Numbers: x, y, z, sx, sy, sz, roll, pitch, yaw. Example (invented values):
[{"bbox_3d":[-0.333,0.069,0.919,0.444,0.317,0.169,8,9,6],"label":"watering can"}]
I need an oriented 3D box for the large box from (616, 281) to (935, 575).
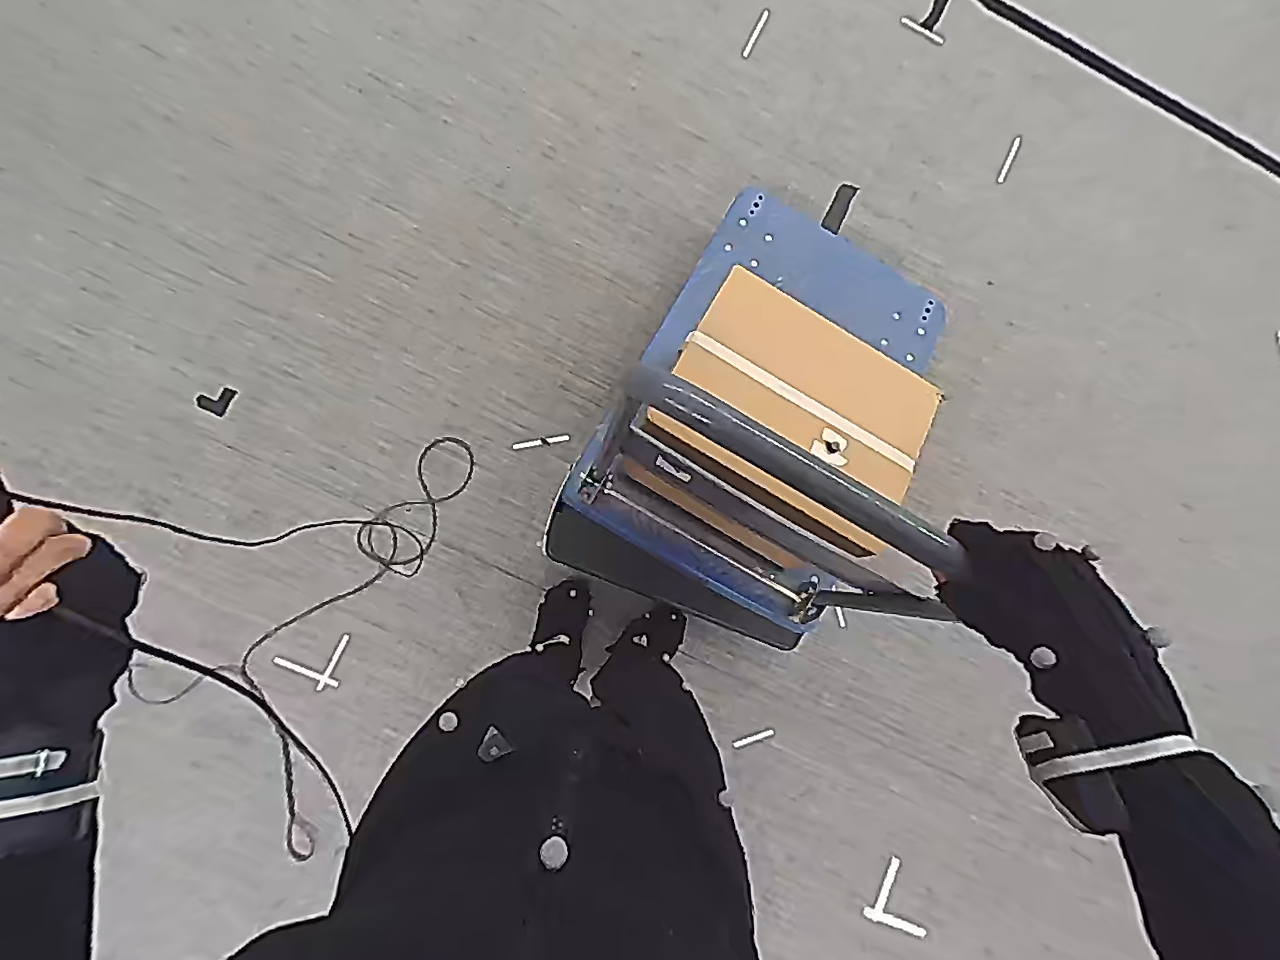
[{"bbox_3d":[0.216,-0.065,0.973,0.408,0.320,0.320,31,74,-3],"label":"large box"}]
